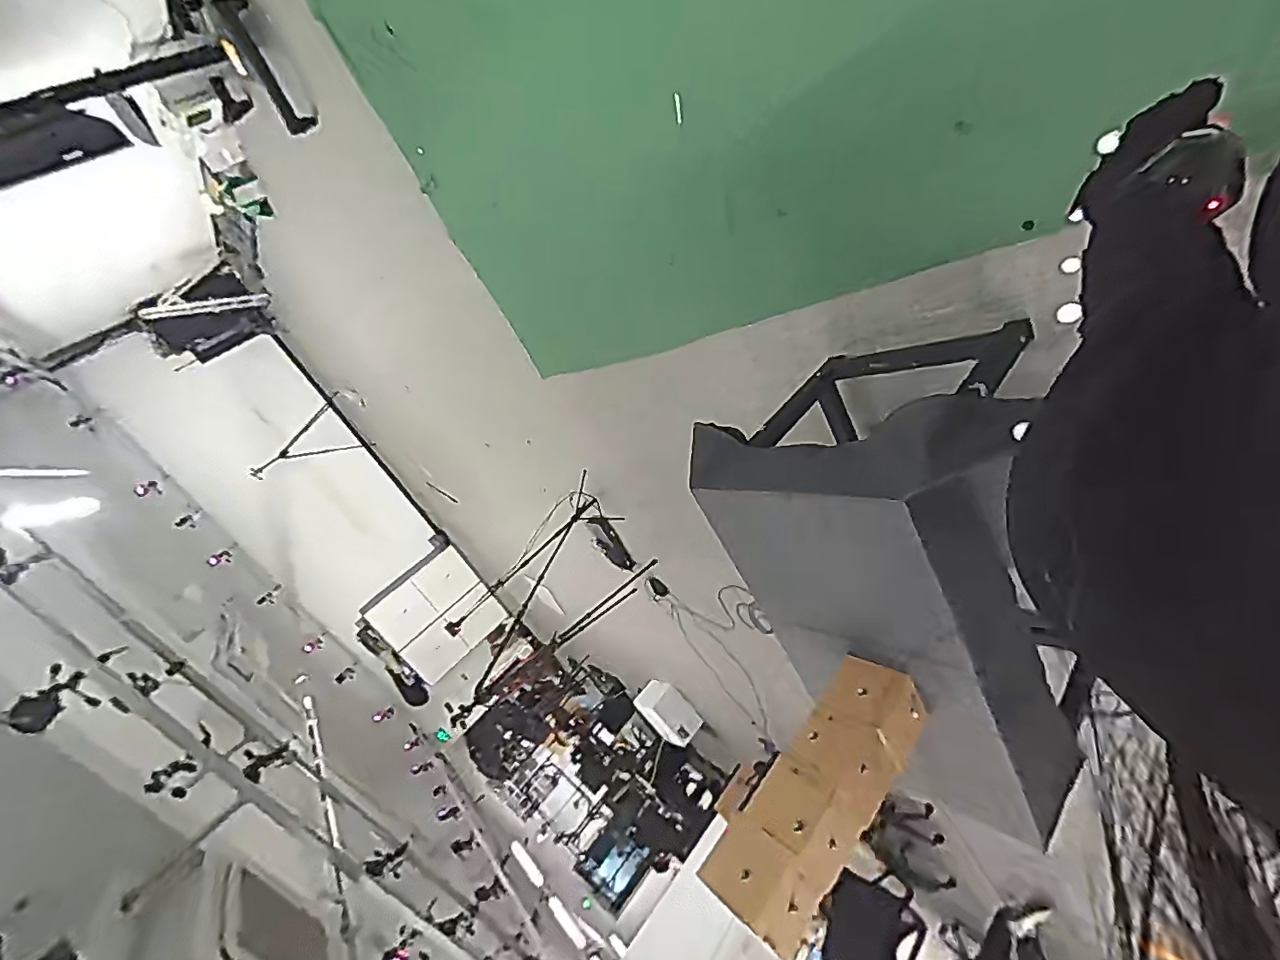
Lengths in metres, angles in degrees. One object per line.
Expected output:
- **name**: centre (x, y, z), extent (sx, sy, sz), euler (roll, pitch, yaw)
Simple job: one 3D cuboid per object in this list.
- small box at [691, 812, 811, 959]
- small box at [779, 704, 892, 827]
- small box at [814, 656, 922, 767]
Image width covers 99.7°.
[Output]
- **small box**: centre (0.252, 0.883, 1.193), extent (0.179, 0.176, 0.168), euler (2, 129, 56)
- **small box**: centre (0.480, 0.684, 1.320), extent (0.168, 0.176, 0.179), euler (1, 128, 57)
- **small box**: centre (0.587, 0.583, 1.388), extent (0.179, 0.176, 0.168), euler (3, 130, 54)
